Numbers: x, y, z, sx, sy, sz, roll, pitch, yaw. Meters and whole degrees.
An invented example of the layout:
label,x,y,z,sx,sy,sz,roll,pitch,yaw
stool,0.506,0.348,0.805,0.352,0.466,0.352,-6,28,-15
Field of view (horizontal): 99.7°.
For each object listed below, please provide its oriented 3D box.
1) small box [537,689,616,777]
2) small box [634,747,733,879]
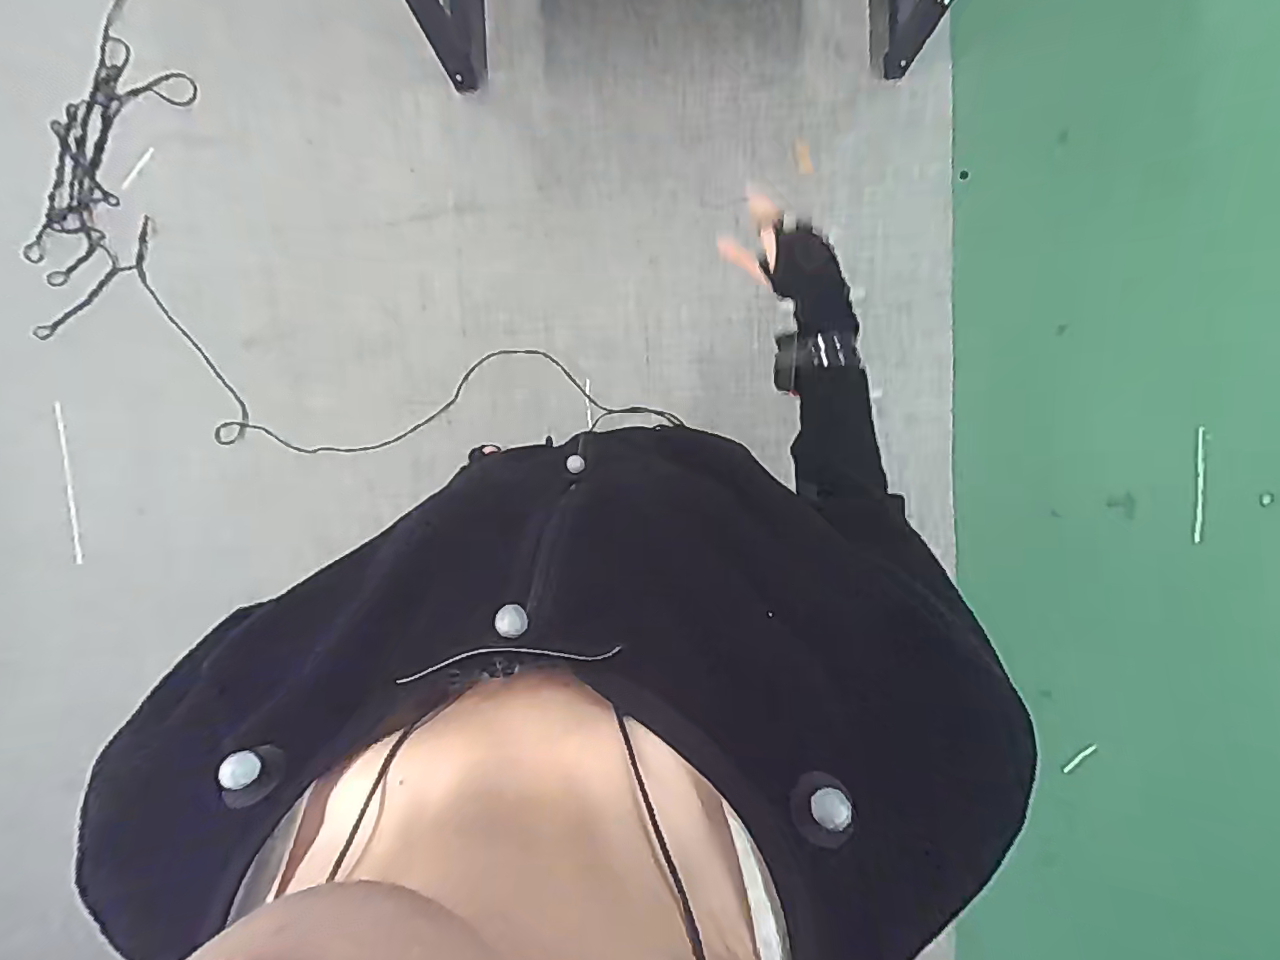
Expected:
label,x,y,z,sx,sy,sz,roll,pitch,yaw
small box,-0.165,0.676,1.446,0.179,0.176,0.168,-6,93,2
small box,0.088,0.667,1.101,0.179,0.176,0.168,-6,91,5
